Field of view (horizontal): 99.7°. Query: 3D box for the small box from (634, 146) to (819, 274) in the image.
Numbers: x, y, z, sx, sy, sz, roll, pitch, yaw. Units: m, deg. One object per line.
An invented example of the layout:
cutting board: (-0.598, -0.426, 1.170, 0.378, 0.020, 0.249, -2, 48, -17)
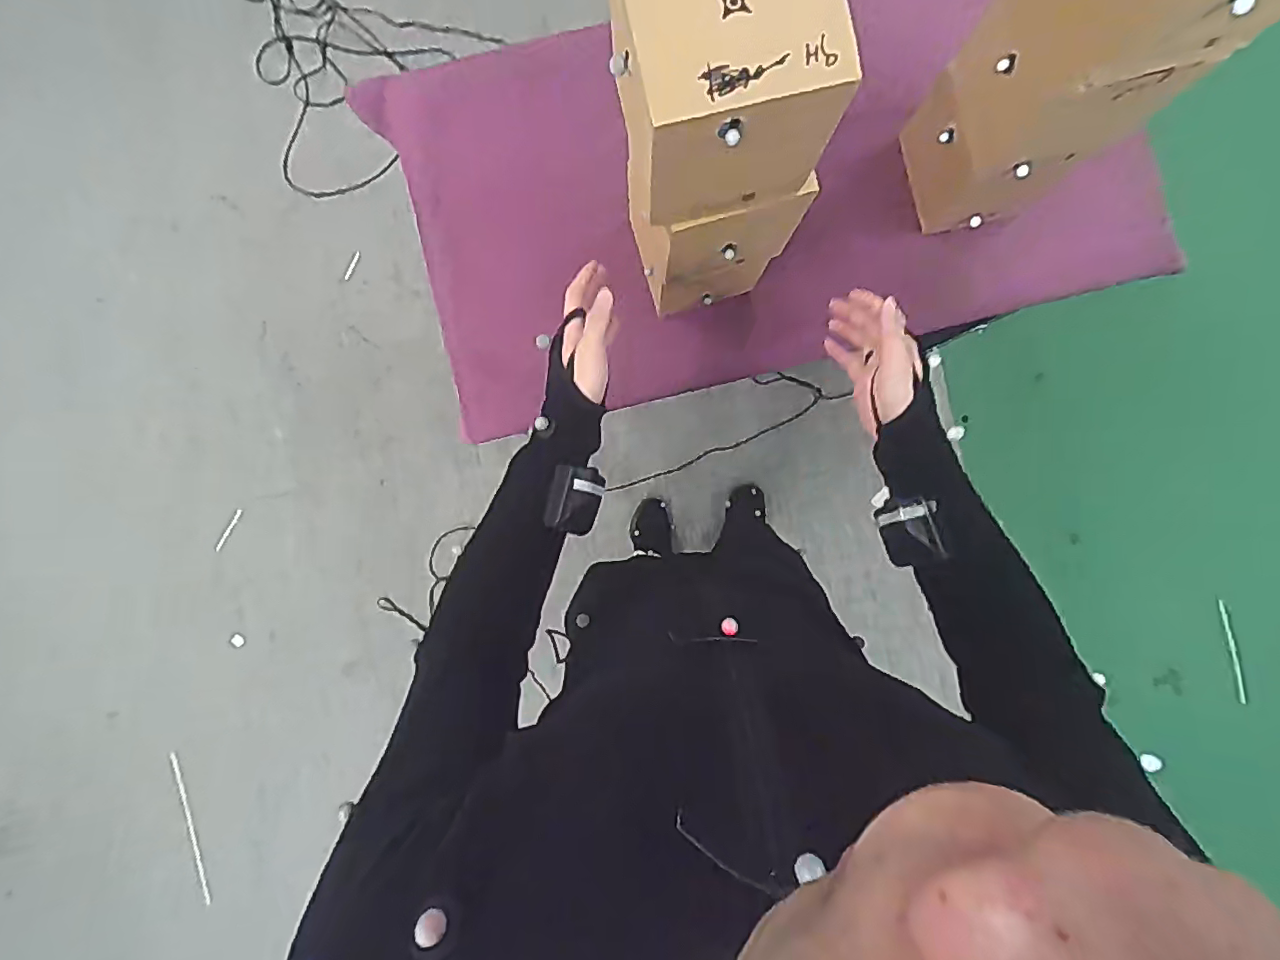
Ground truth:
small box: (0.091, -0.367, 0.645, 0.168, 0.176, 0.179, -16, 89, 0)

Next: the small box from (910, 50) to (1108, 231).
small box: (0.530, -0.507, 0.804, 0.168, 0.176, 0.179, -12, 89, 2)

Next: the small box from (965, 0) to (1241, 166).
small box: (0.525, -0.506, 0.640, 0.168, 0.176, 0.179, -12, 87, 2)

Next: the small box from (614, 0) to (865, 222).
small box: (0.071, -0.367, 0.482, 0.168, 0.176, 0.179, -13, 90, 1)

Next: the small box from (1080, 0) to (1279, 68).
small box: (0.530, -0.513, 0.478, 0.168, 0.176, 0.179, -14, 87, 3)
